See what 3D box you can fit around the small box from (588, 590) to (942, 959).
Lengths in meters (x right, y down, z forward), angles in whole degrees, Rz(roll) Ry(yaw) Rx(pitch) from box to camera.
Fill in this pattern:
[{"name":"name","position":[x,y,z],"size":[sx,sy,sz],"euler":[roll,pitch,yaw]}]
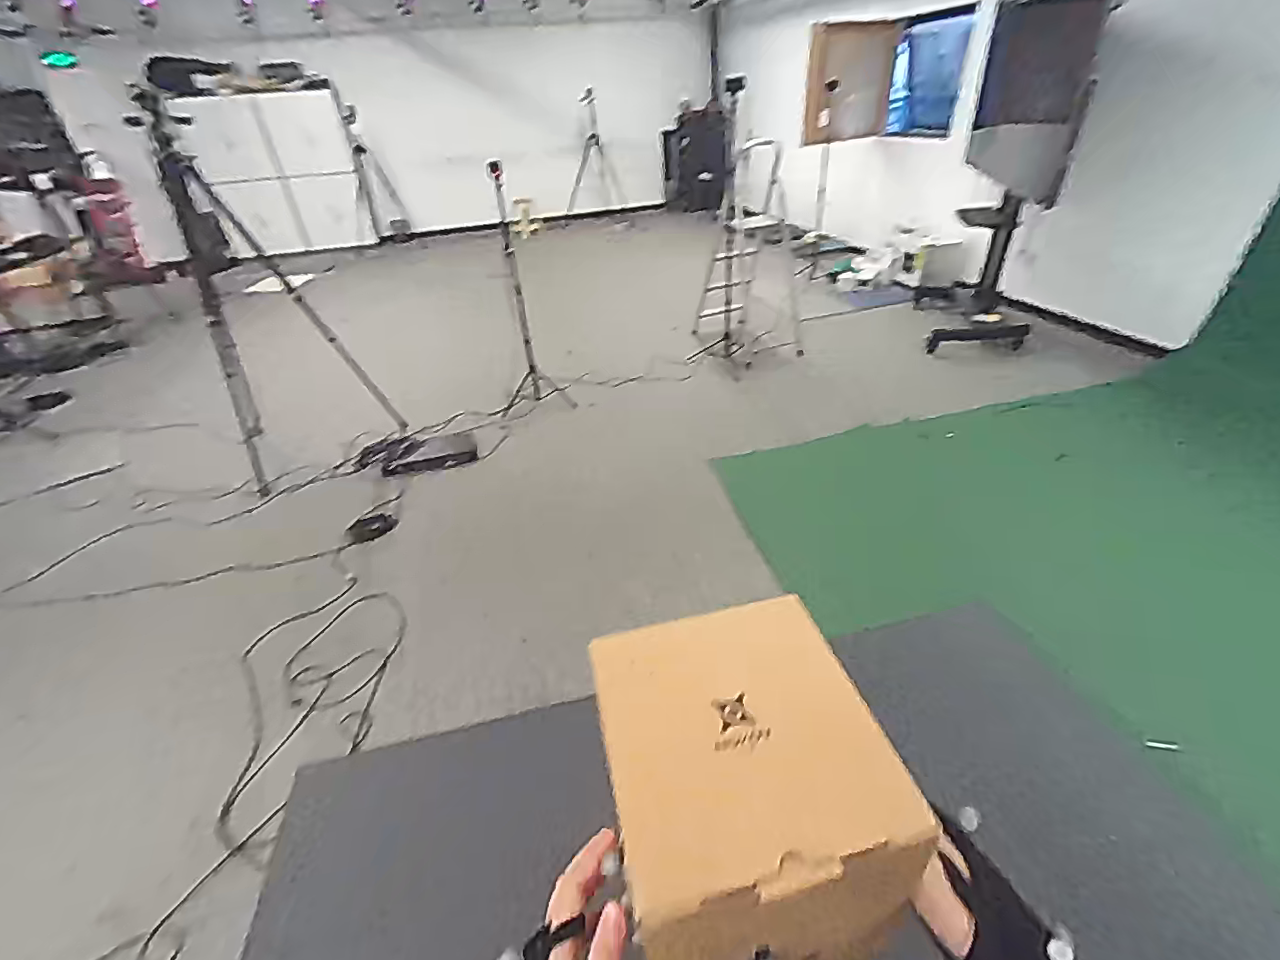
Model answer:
[{"name":"small box","position":[0.063,0.209,0.375],"size":[0.168,0.176,0.179],"euler":[-11,34,-9]}]
